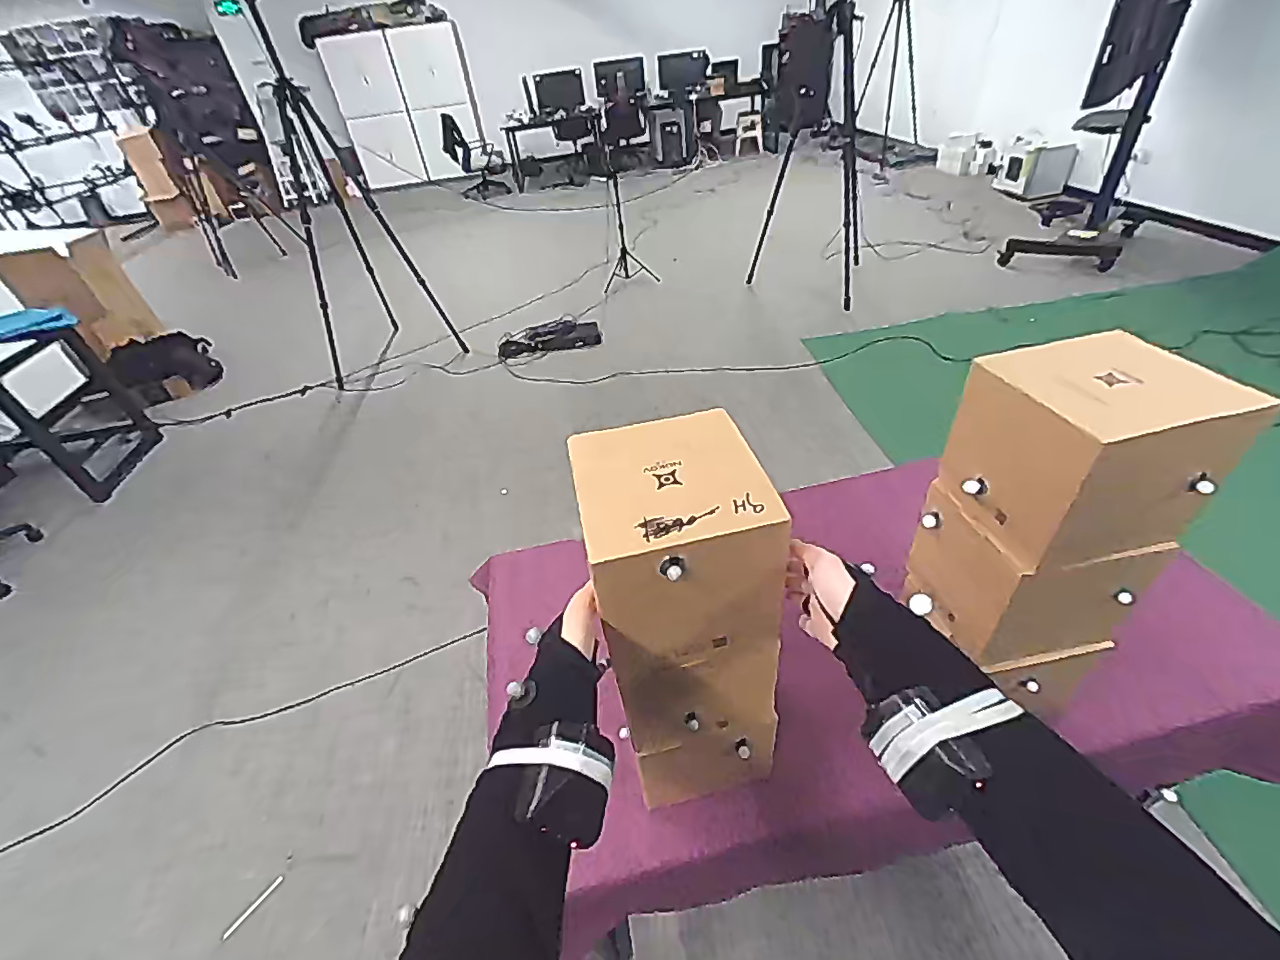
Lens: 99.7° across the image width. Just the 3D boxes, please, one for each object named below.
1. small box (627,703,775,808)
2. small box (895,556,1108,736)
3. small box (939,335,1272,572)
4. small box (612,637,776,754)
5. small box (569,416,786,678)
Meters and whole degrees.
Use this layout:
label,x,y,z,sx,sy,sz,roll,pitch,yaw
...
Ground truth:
label,x,y,z,sx,sy,sz,roll,pitch,yaw
small box,0.069,0.316,0.741,0.179,0.176,0.168,-13,39,-5
small box,0.484,0.234,0.763,0.179,0.176,0.168,-10,39,-3
small box,0.456,-0.029,0.569,0.179,0.176,0.168,-12,39,-5
small box,0.047,0.188,0.641,0.168,0.176,0.179,-12,40,-5
small box,0.030,0.063,0.536,0.168,0.176,0.179,-12,39,-4
